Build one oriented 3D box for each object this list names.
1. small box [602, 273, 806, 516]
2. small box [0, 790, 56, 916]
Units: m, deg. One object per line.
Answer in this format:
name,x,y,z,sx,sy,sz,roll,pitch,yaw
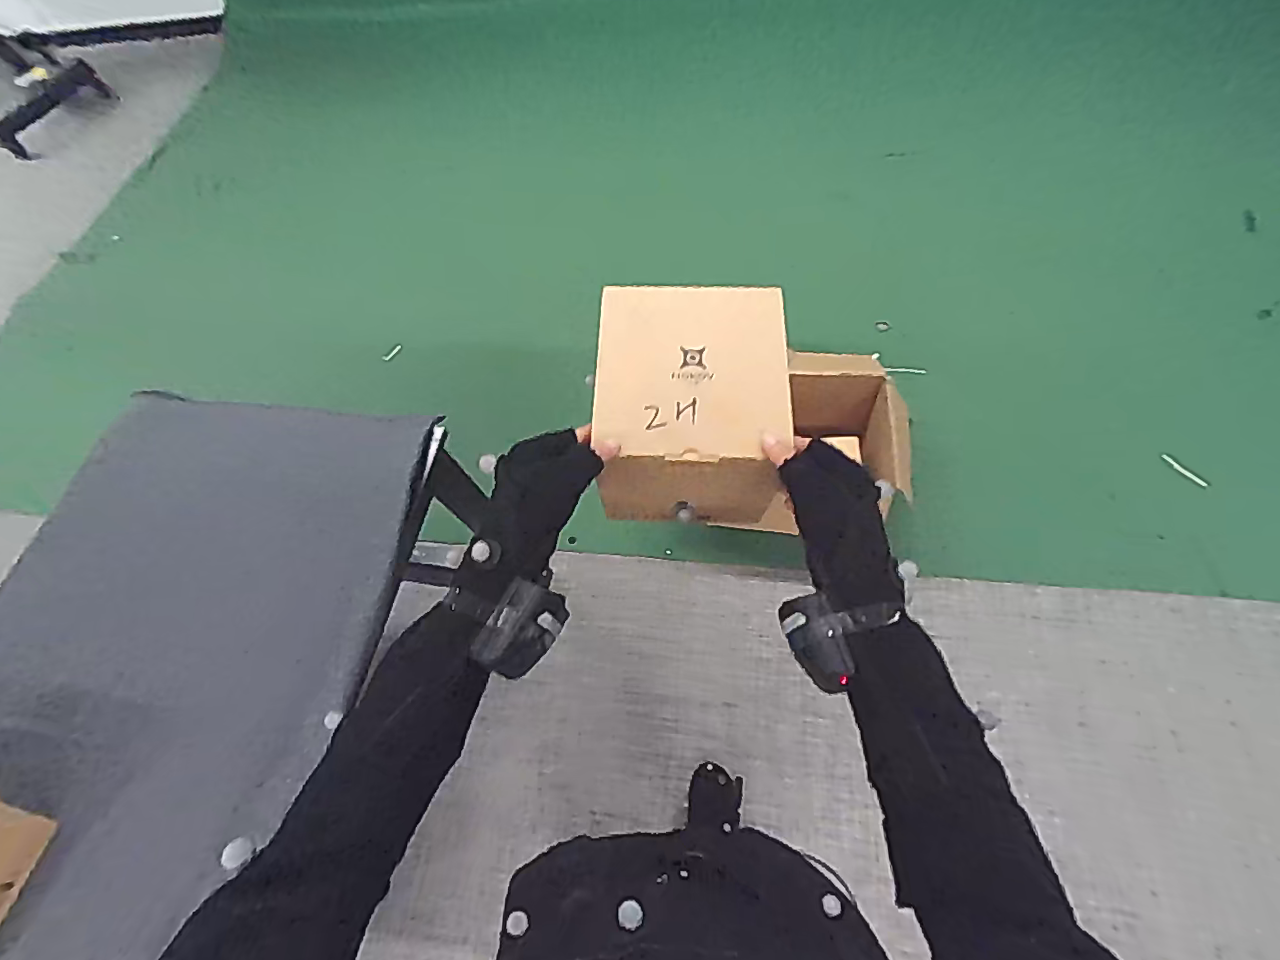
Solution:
small box,0.057,-0.076,0.535,0.168,0.176,0.179,2,68,3
small box,-0.799,0.425,0.563,0.179,0.176,0.168,9,66,12
